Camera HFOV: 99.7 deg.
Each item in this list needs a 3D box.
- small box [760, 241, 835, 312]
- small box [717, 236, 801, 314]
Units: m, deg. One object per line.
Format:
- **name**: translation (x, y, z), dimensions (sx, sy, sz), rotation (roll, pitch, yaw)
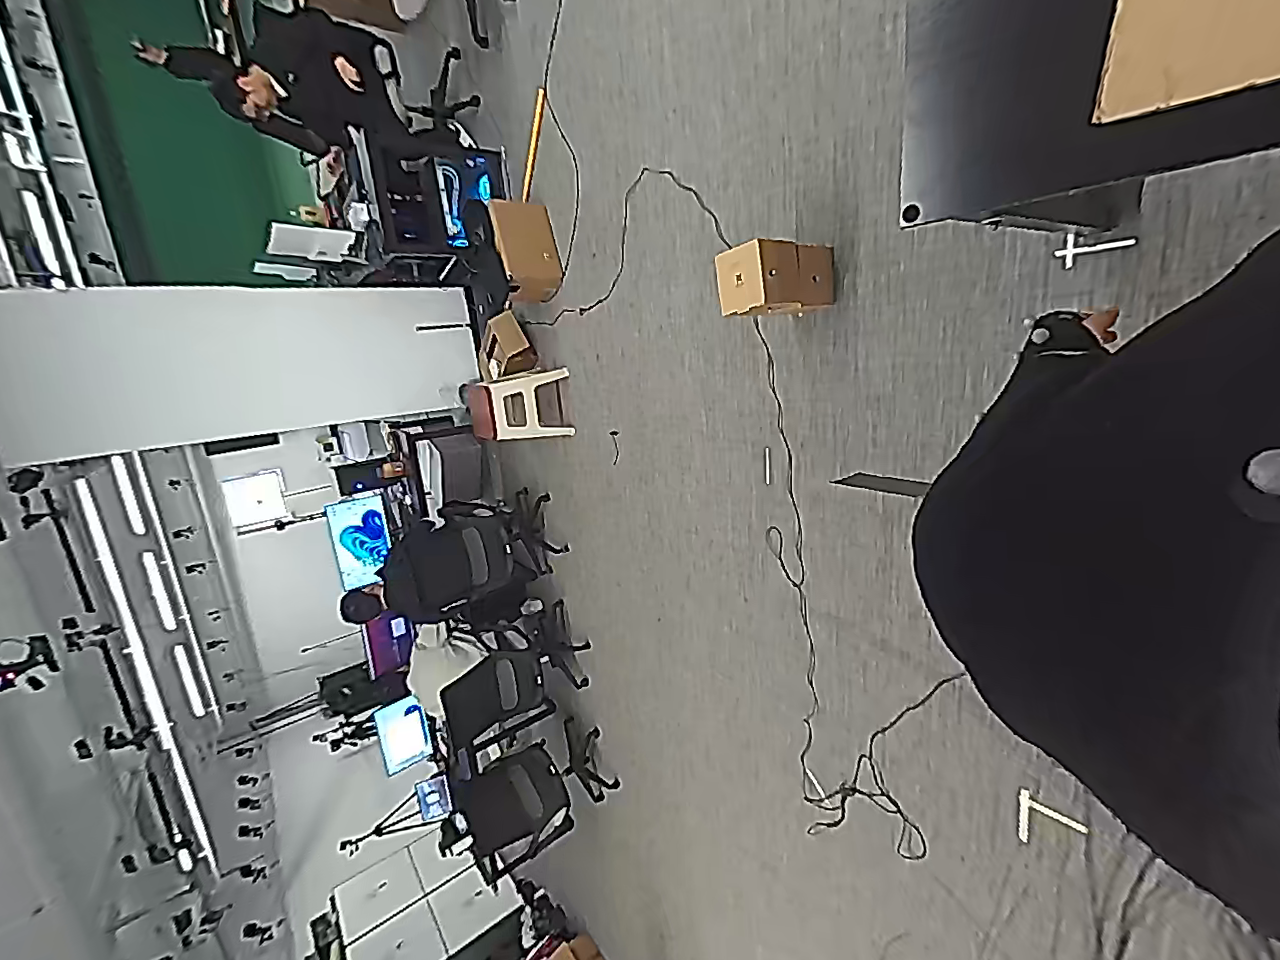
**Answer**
- **small box**: translation (0.479, -0.617, 1.657), dimensions (0.168, 0.176, 0.179), rotation (8, 109, 53)
- **small box**: translation (0.348, -0.589, 1.564), dimensions (0.168, 0.176, 0.179), rotation (3, 104, 53)
